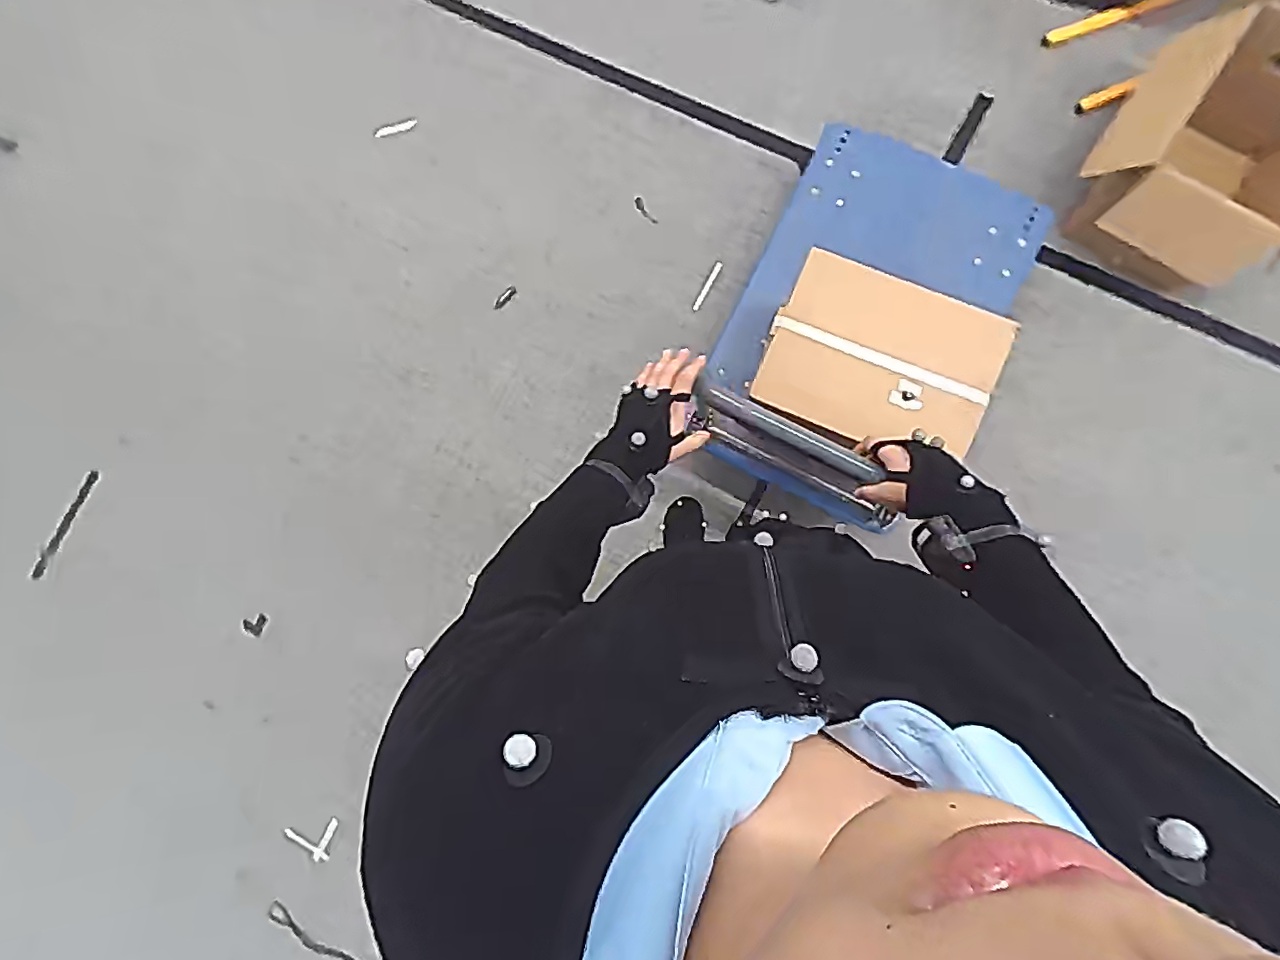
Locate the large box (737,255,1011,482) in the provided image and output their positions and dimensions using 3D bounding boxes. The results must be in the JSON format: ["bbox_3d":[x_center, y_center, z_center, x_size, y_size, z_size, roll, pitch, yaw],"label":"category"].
[{"bbox_3d":[0.463,-0.215,1.168,0.408,0.320,0.320,24,90,5],"label":"large box"}]
